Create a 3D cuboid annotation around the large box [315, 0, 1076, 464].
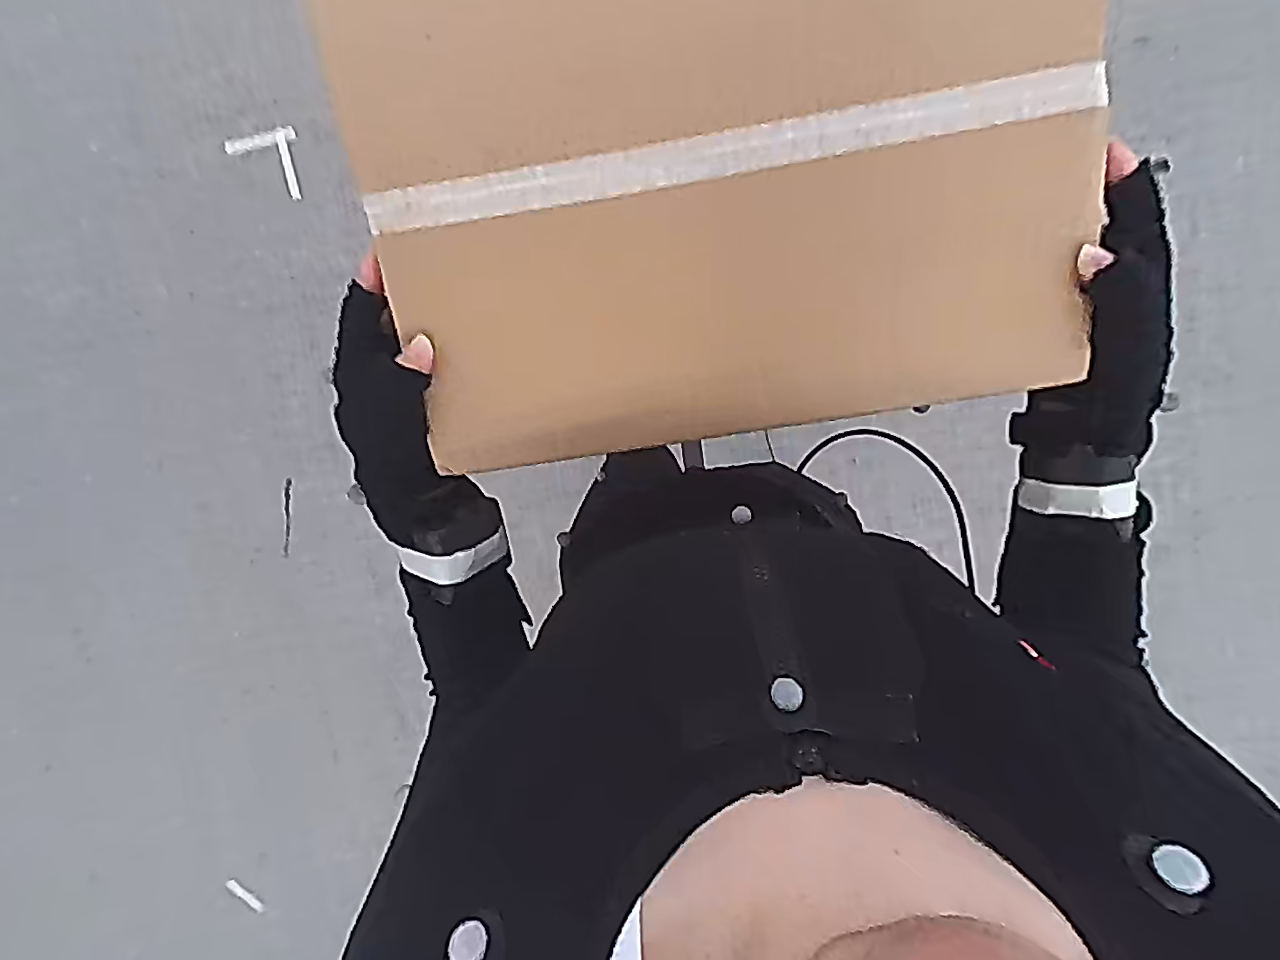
[{"bbox_3d":[0.042,-0.228,0.450,0.408,0.320,0.320,-8,105,3],"label":"large box"}]
